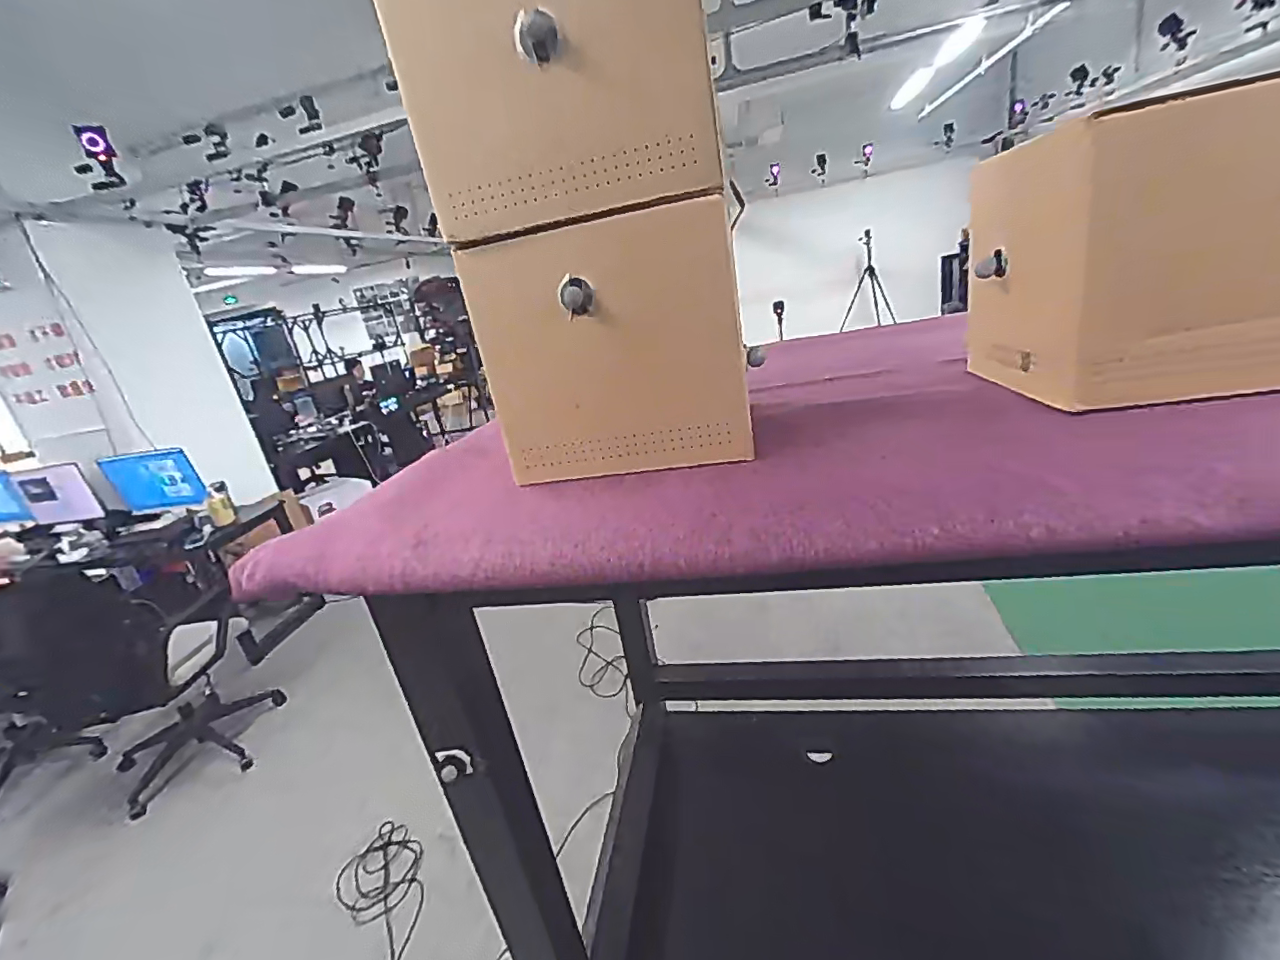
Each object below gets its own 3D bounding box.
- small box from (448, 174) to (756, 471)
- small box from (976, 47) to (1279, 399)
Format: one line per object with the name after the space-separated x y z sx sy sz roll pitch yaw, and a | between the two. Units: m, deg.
-0.009 -0.113 0.416 0.179 0.176 0.168 -6 22 12 | small box
0.346 -0.155 0.355 0.179 0.176 0.168 -6 19 13 | small box
